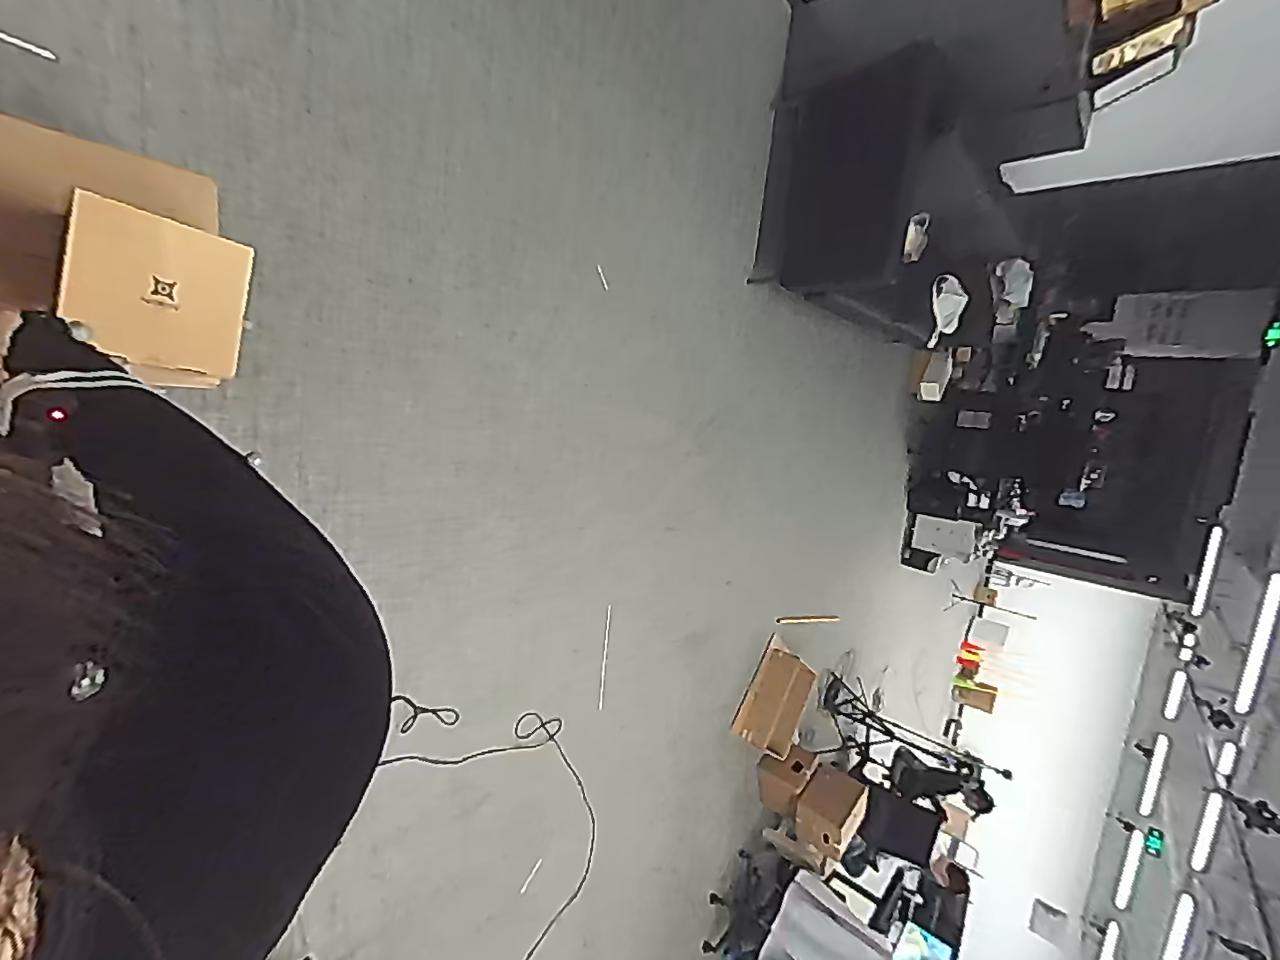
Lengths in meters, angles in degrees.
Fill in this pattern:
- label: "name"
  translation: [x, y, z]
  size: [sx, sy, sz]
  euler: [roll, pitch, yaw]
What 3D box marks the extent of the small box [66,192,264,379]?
- label: "small box"
  translation: [-0.619, -0.238, 0.704]
  size: [0.168, 0.176, 0.179]
  euler: [6, 96, -48]
